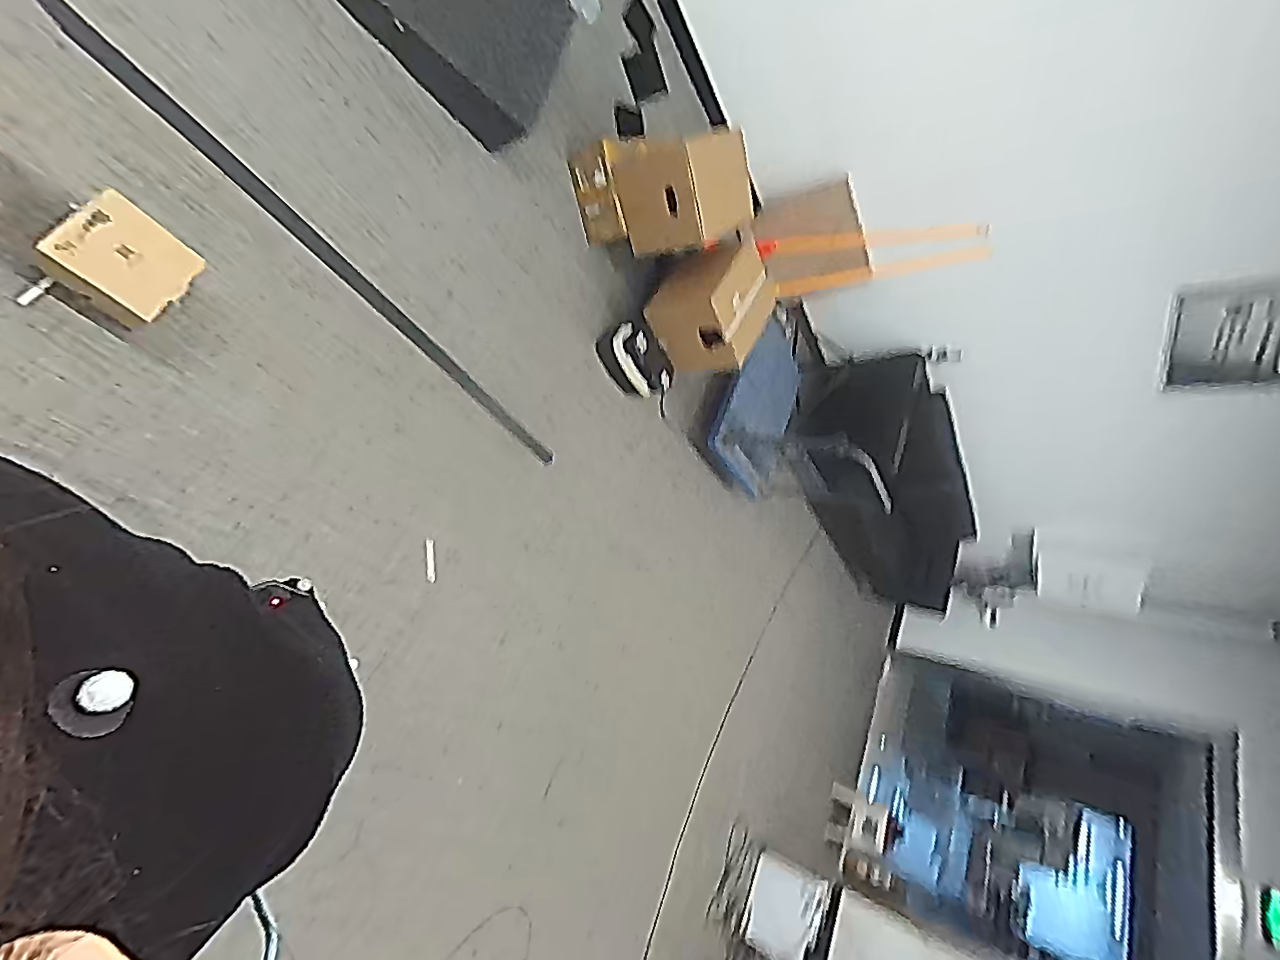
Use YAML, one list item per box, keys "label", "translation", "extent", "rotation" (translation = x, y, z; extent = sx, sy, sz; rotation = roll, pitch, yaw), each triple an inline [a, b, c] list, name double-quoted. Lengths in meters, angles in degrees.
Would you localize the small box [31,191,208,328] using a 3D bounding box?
- label: "small box"
  translation: [-0.993, -0.410, 1.036]
  extent: [0.179, 0.176, 0.168]
  rotation: [49, 58, -42]
